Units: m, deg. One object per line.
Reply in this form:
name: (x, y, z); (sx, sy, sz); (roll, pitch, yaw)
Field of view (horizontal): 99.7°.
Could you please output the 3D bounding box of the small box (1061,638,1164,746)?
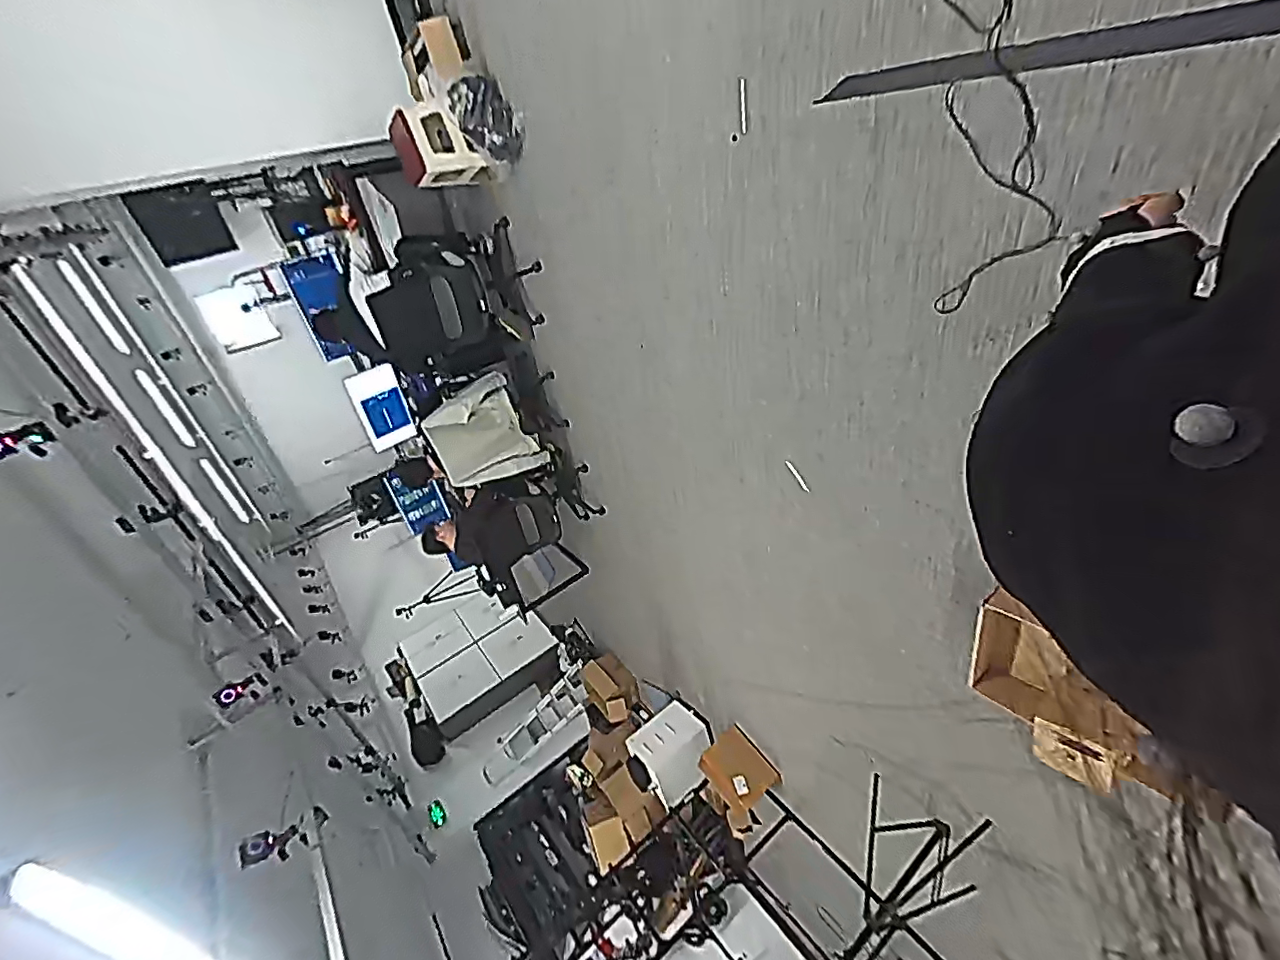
small box: (1.282, 0.569, 1.469); (0.168, 0.176, 0.179); (20, 133, 51)
